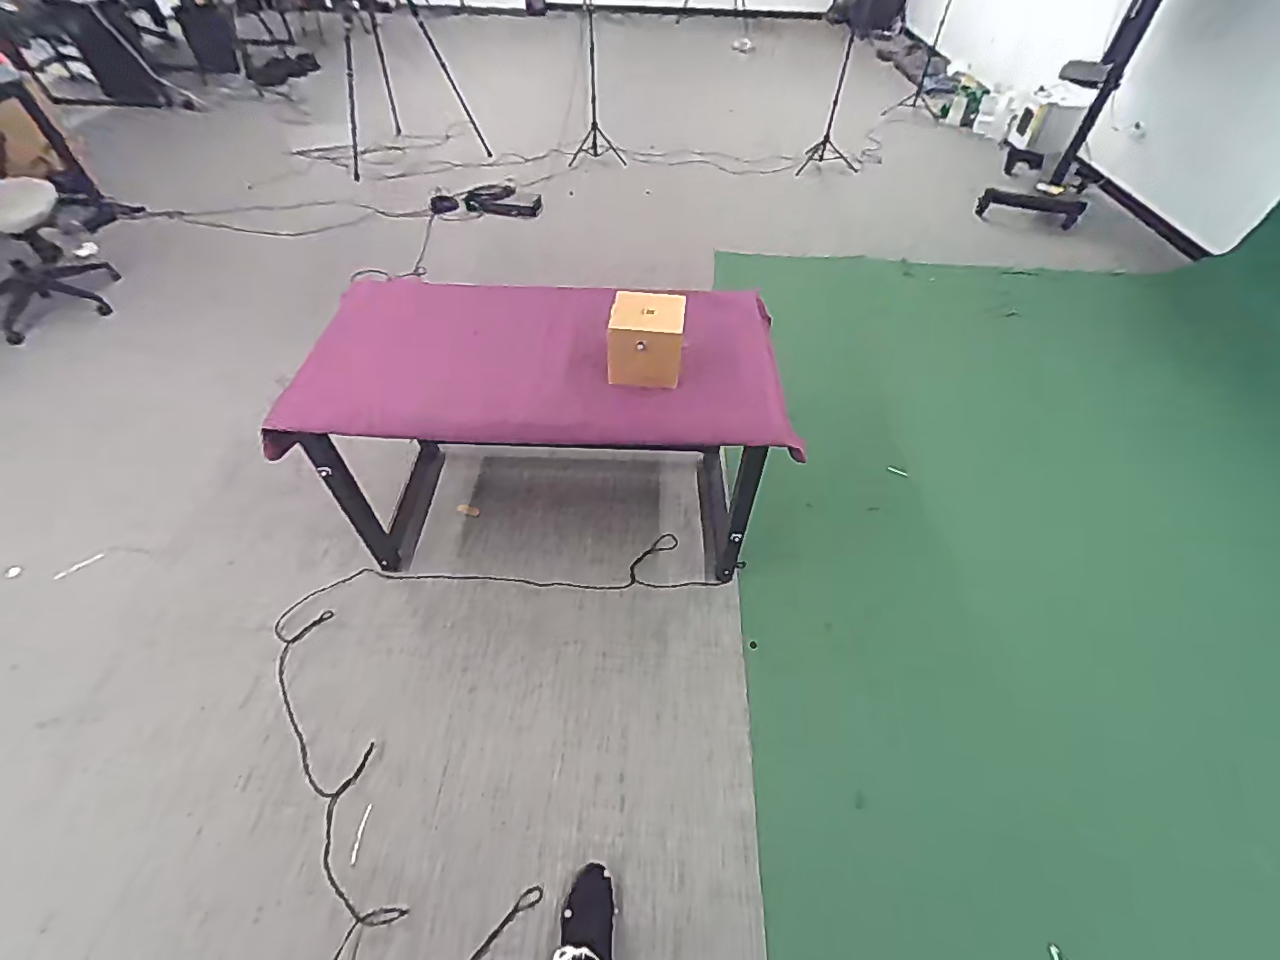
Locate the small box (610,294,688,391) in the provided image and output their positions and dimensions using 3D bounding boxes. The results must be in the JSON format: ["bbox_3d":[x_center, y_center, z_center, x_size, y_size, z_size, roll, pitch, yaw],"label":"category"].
[{"bbox_3d":[0.022,-0.341,1.354,0.179,0.176,0.168,6,50,3],"label":"small box"}]
